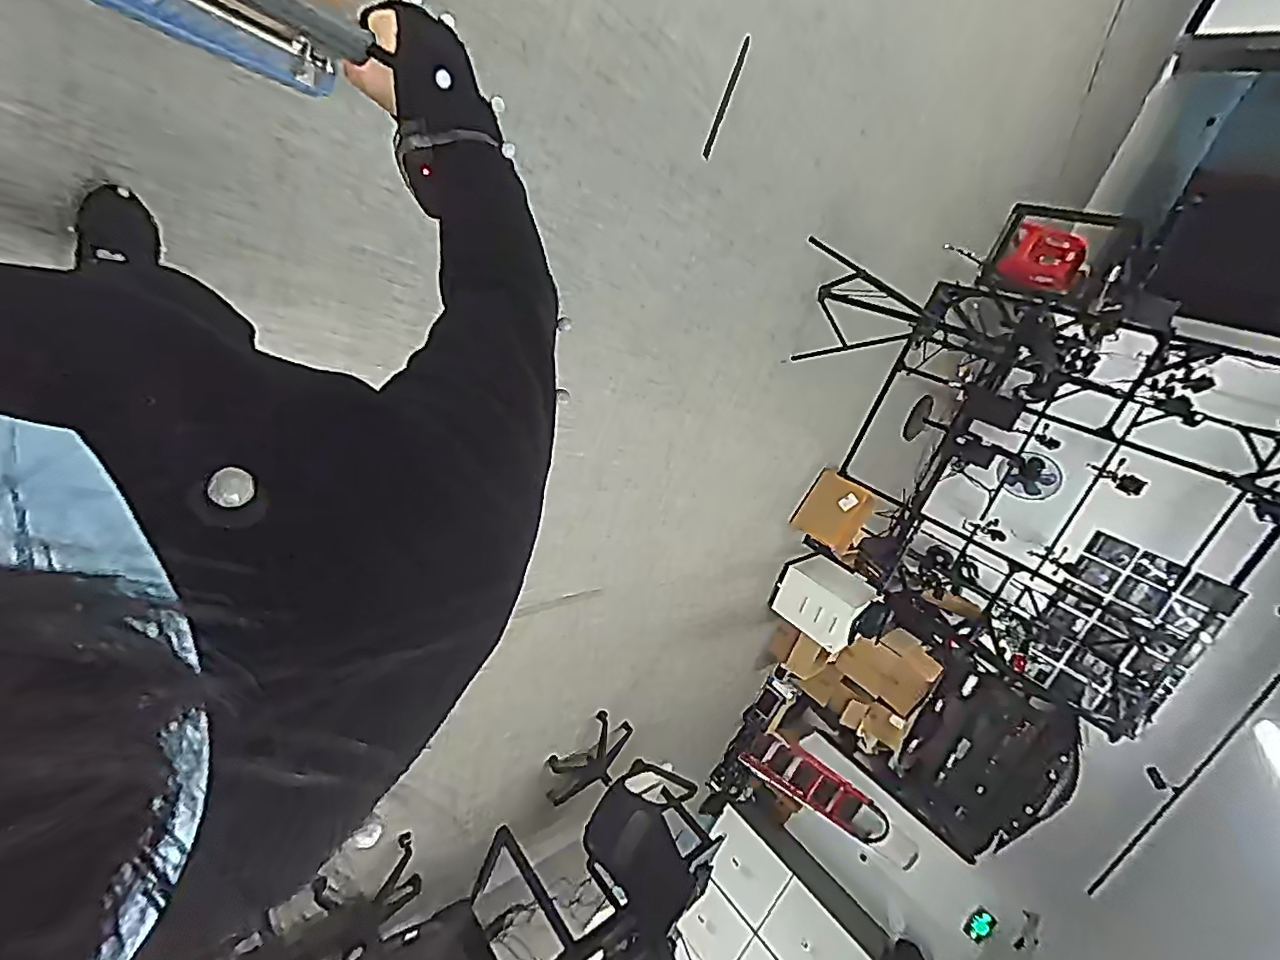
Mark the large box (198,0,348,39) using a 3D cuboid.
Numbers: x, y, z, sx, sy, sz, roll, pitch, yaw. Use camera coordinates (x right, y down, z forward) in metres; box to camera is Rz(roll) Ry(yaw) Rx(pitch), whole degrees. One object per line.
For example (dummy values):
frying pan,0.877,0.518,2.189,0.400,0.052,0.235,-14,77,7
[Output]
large box,-0.587,-0.801,0.623,0.408,0.320,0.320,-1,118,-49
